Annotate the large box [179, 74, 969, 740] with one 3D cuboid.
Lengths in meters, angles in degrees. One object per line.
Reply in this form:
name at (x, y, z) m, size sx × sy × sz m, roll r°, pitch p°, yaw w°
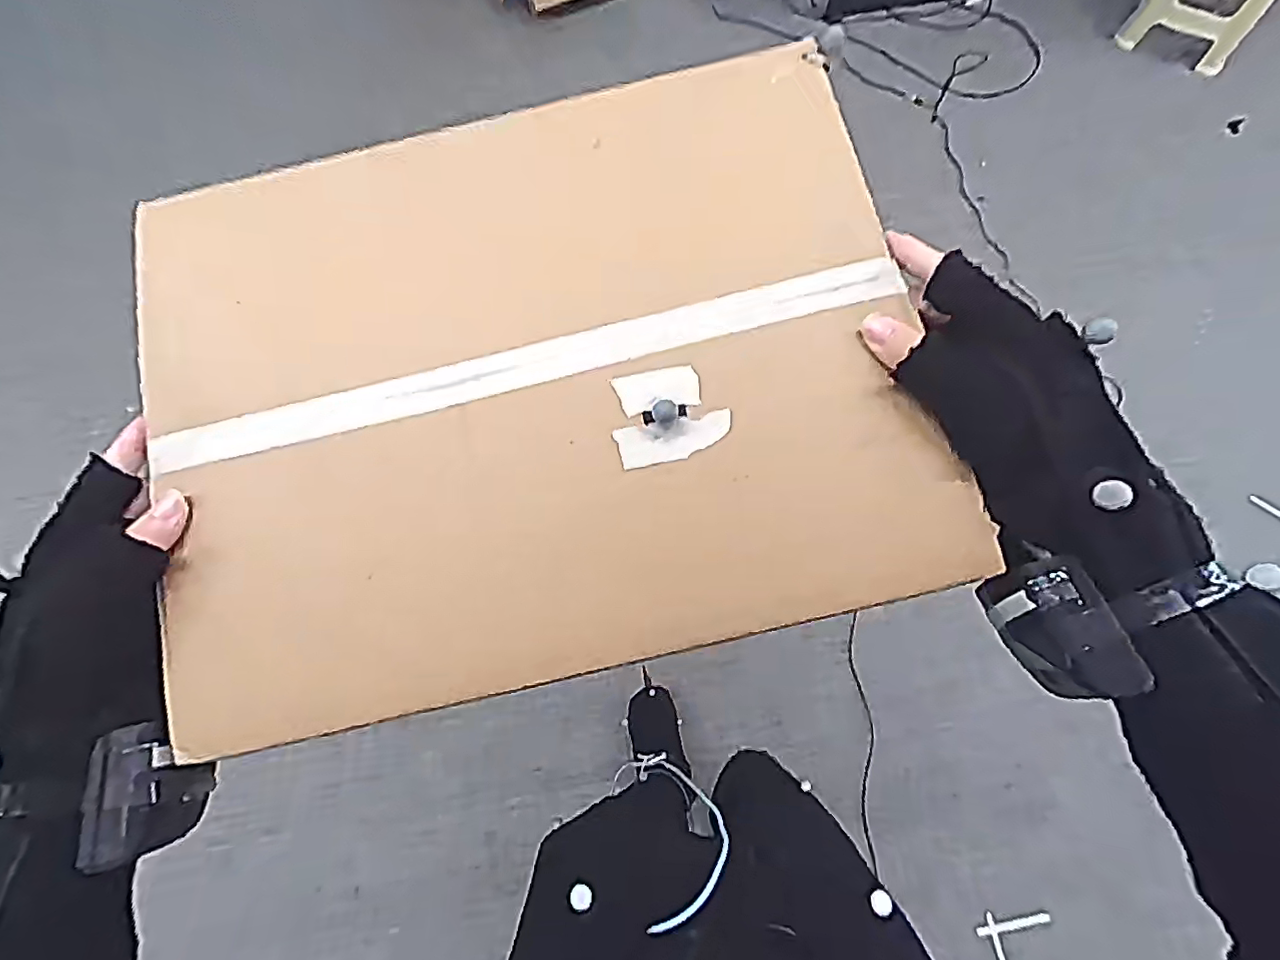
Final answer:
large box at (-0.052, -0.031, 0.449) m, size 0.408 × 0.320 × 0.320 m, roll -14°, pitch 80°, yaw 0°
